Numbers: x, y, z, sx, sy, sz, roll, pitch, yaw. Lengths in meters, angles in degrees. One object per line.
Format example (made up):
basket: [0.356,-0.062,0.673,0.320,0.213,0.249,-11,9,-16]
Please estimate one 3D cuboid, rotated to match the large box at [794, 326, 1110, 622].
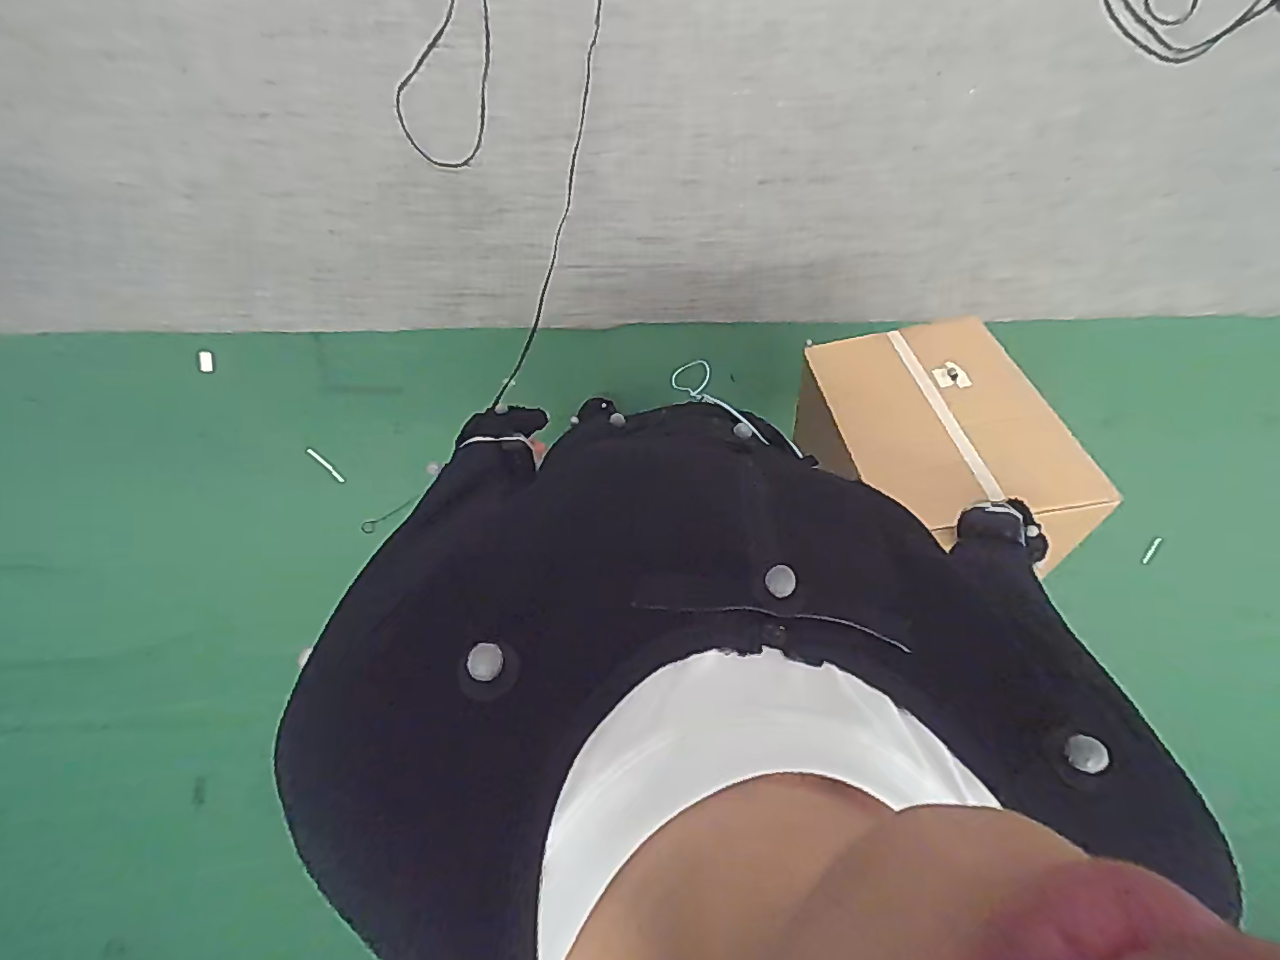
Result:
large box: [0.492,-0.009,0.977,0.320,0.408,0.320,-9,141,2]
